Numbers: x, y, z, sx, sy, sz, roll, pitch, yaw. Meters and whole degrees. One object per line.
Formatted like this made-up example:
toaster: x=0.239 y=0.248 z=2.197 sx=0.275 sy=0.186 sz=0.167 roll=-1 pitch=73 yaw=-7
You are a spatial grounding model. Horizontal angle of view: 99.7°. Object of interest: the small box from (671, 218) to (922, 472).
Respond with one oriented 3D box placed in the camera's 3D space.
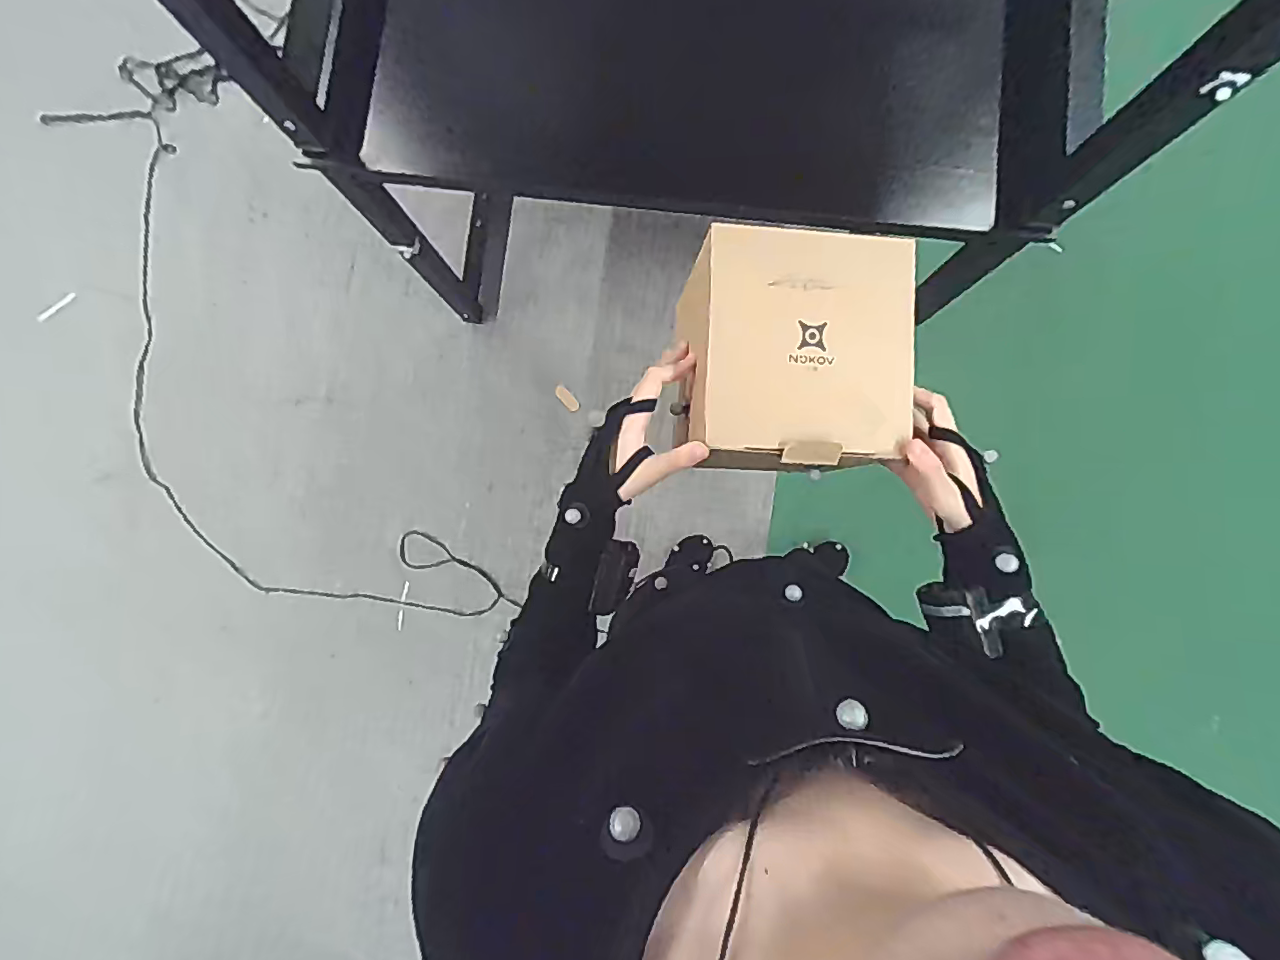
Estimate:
small box: x=0.123 y=-0.100 z=0.484 sx=0.168 sy=0.176 sz=0.179 roll=3 pitch=86 yaw=-6
